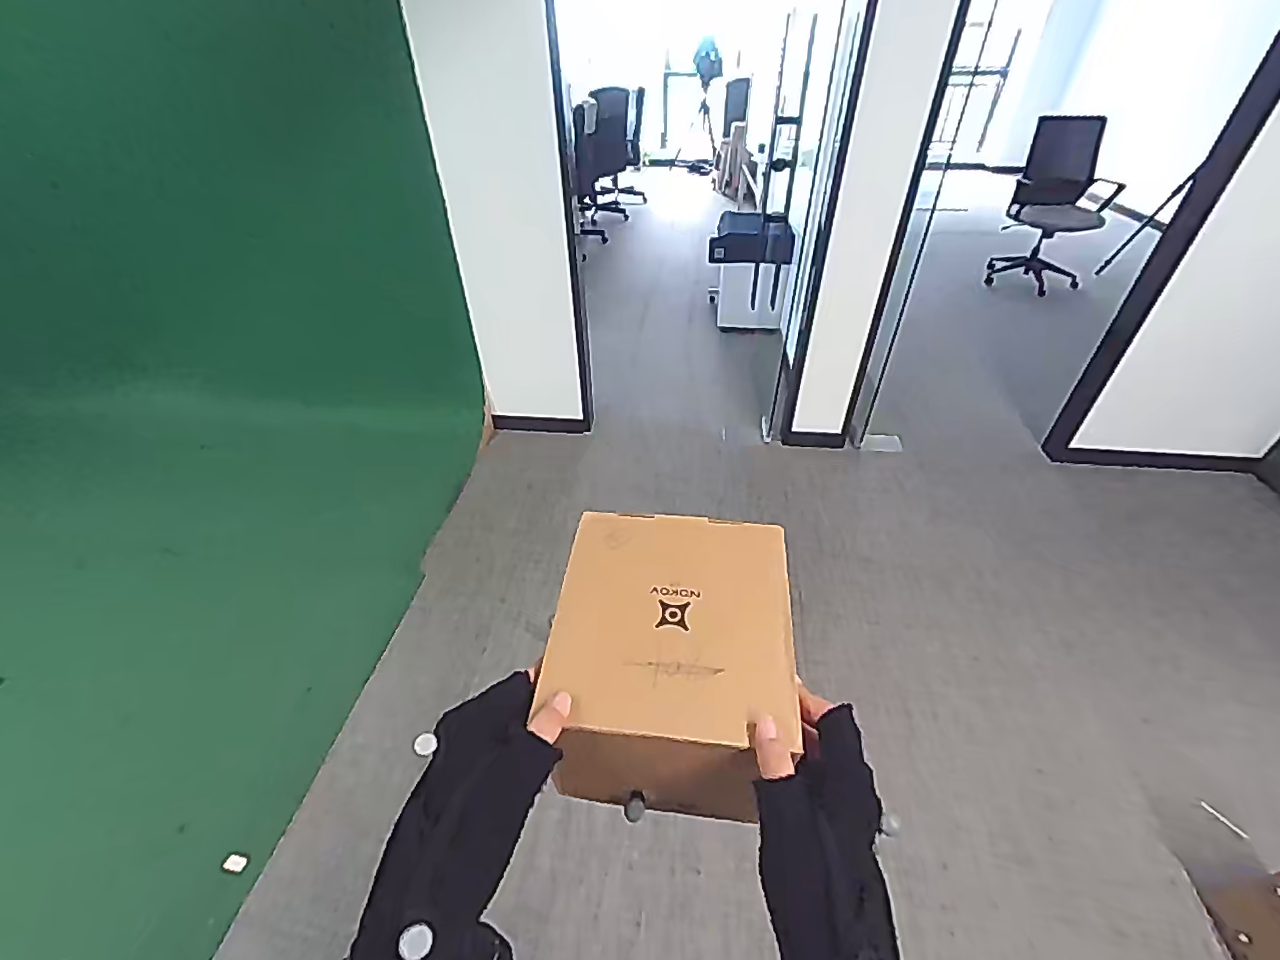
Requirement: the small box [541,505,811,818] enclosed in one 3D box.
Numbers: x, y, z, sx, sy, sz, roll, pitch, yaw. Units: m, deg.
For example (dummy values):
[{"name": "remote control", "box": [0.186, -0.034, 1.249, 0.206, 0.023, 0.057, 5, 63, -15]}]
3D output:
[{"name": "small box", "box": [0.030, 0.144, 0.435, 0.168, 0.176, 0.179, 4, 46, 6]}]
